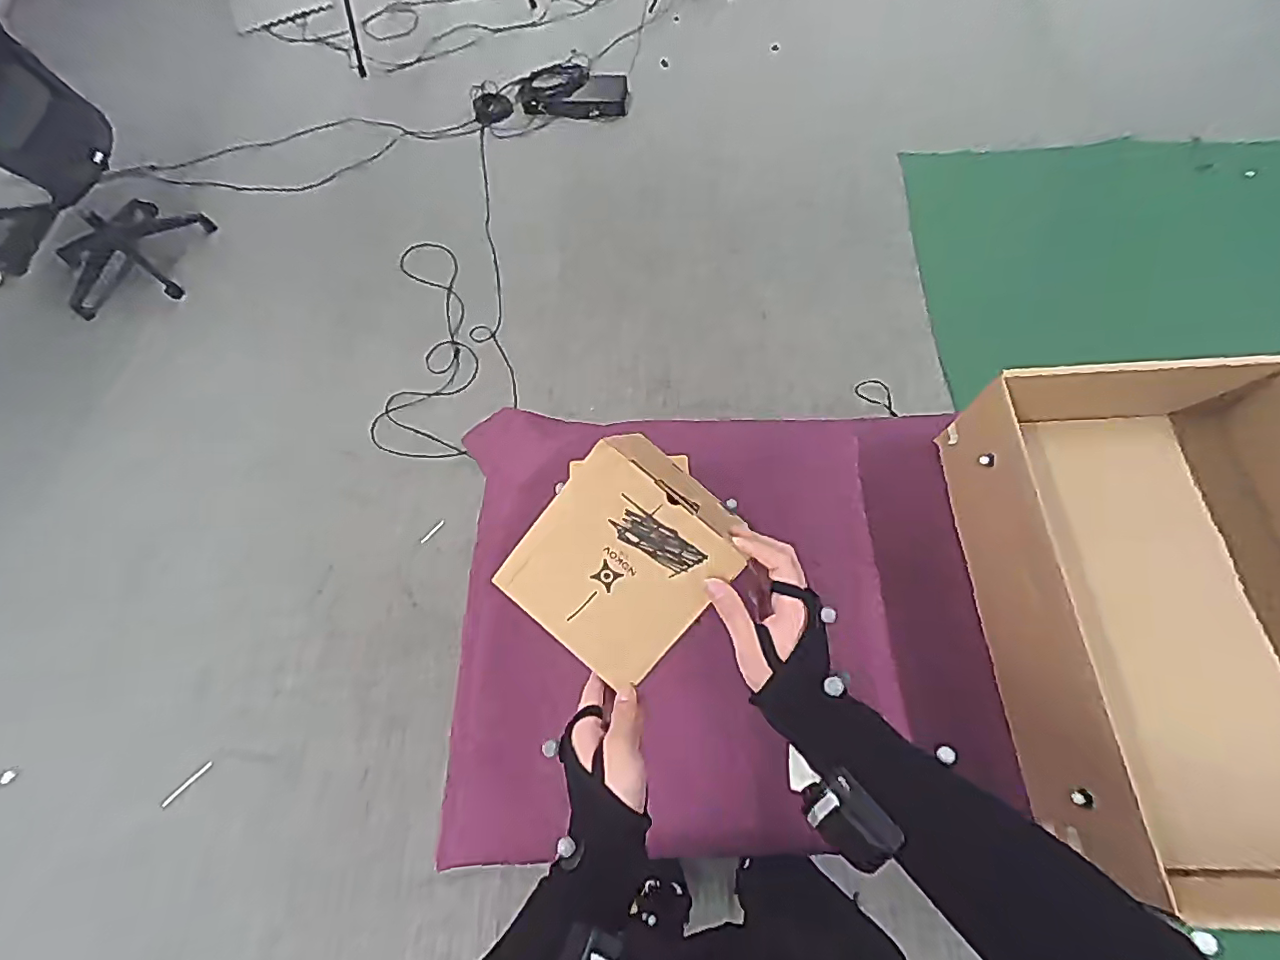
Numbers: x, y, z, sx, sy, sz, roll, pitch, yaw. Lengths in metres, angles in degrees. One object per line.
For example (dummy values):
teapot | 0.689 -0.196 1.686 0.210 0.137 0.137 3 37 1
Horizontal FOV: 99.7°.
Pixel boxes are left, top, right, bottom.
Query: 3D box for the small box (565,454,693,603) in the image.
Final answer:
small box | -0.009 0.079 0.790 0.168 0.176 0.179 -3 64 3
